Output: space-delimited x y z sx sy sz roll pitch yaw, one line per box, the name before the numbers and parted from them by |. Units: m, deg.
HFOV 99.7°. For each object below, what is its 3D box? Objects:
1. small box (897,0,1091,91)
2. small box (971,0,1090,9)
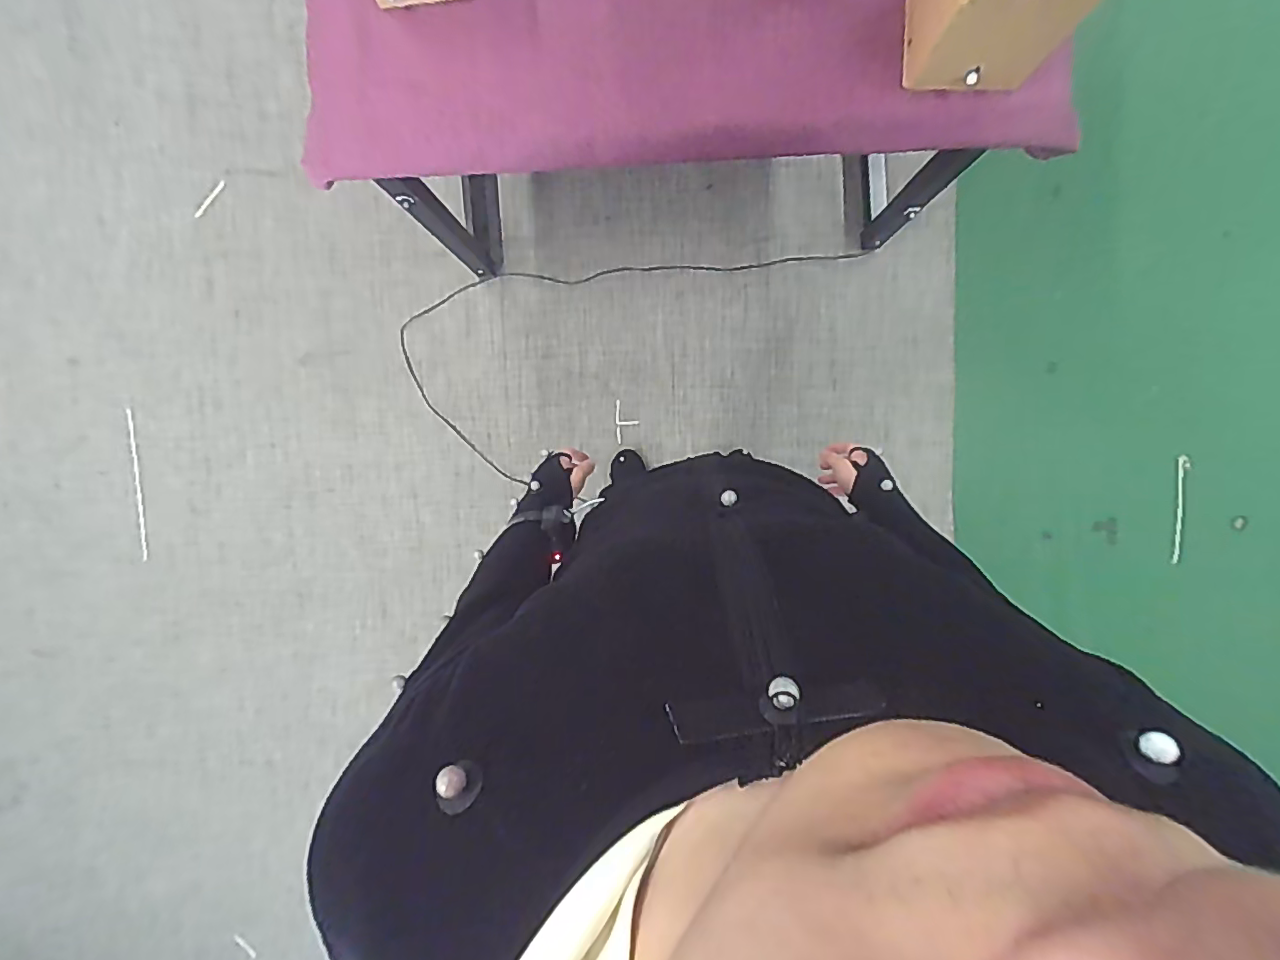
small box | 0.494 -0.691 0.768 0.179 0.176 0.168 2 92 2
small box | 0.489 -0.686 0.605 0.168 0.176 0.179 2 93 4
